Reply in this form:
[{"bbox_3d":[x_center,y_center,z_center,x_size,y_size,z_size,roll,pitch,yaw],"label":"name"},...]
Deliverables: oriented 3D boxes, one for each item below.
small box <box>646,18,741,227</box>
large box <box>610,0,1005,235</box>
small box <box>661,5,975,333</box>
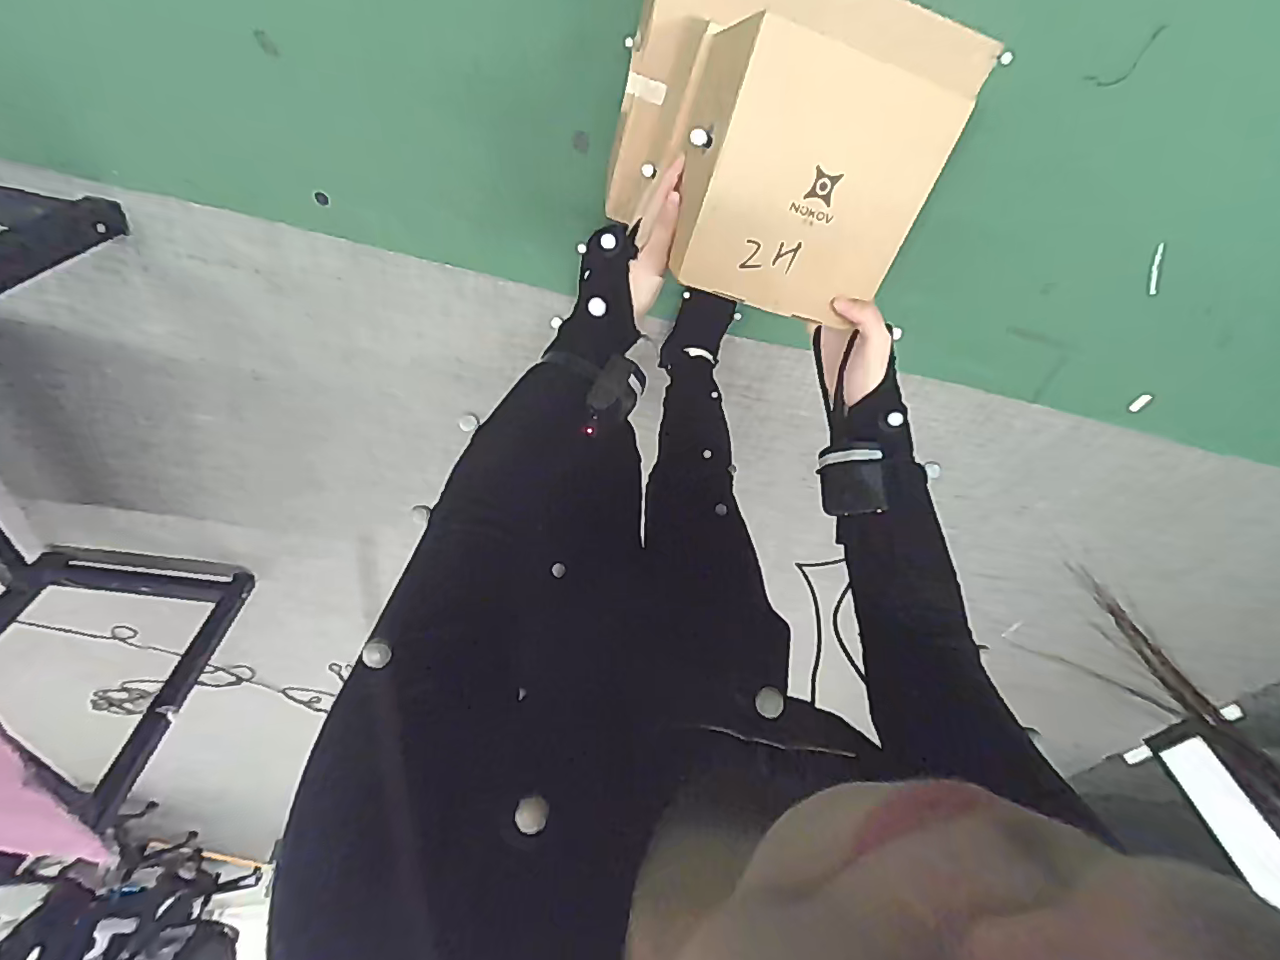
[{"bbox_3d":[0.107,-0.371,0.594,0.168,0.176,0.179,12,131,-13],"label":"small box"},{"bbox_3d":[0.182,-0.527,0.783,0.408,0.320,0.320,11,131,-12],"label":"large box"},{"bbox_3d":[0.123,-0.254,0.460,0.168,0.176,0.179,11,124,-13],"label":"small box"}]
